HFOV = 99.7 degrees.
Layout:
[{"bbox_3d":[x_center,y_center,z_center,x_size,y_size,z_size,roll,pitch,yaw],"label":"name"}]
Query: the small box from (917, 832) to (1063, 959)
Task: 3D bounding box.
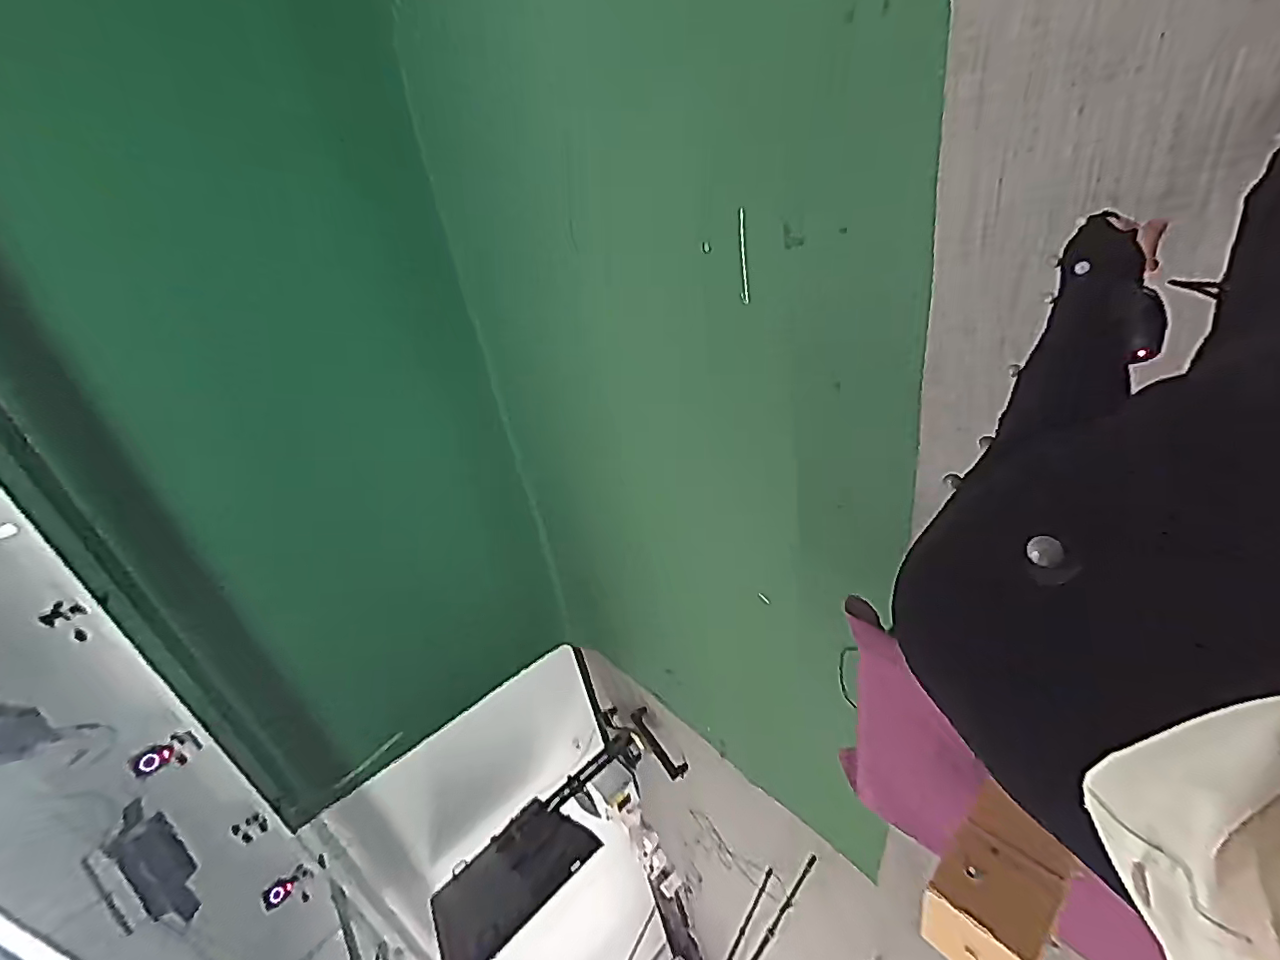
[{"bbox_3d":[0.621,0.784,0.963,0.168,0.176,0.179,21,130,47],"label":"small box"}]
